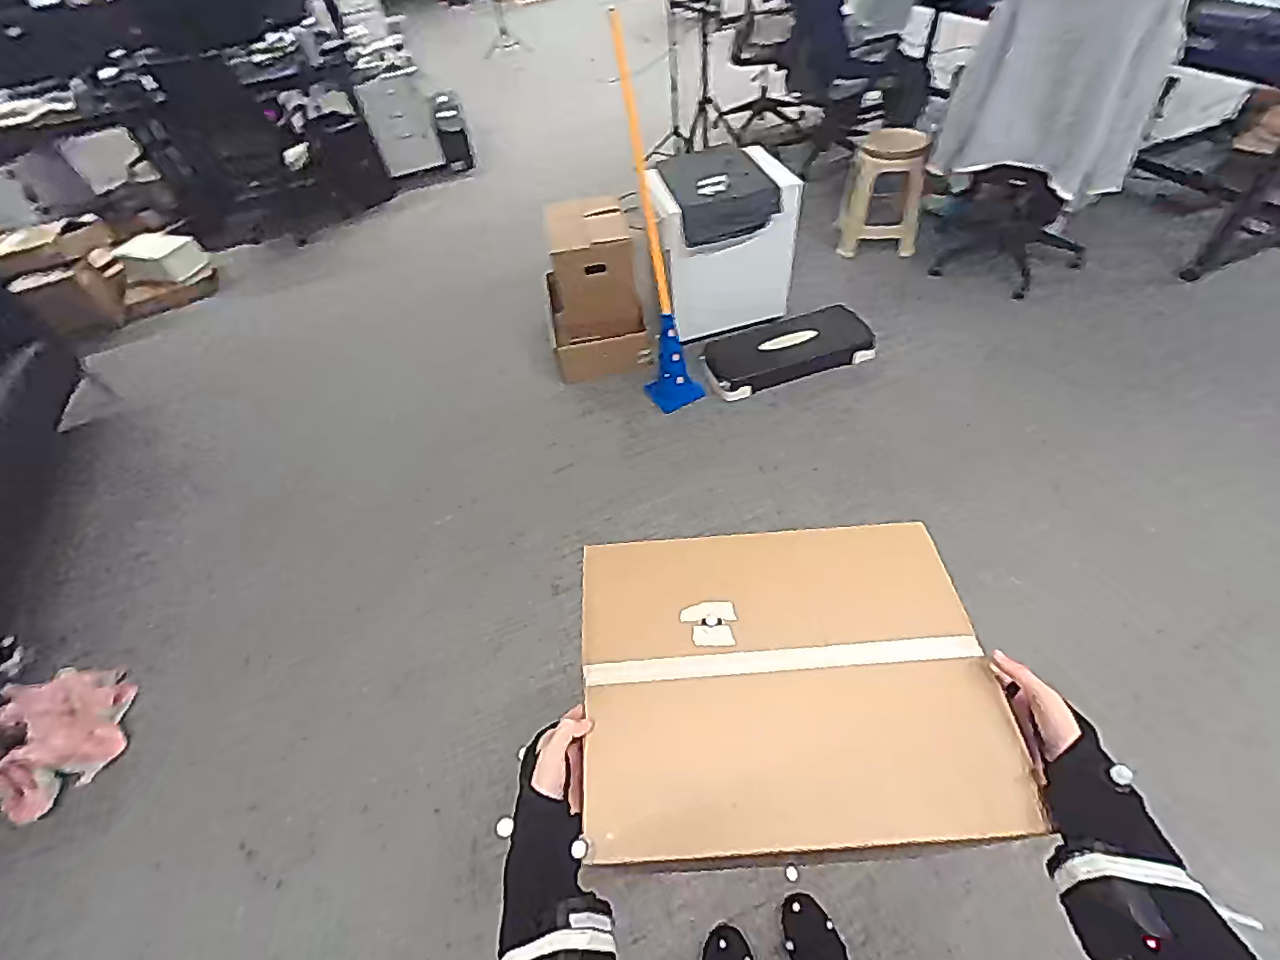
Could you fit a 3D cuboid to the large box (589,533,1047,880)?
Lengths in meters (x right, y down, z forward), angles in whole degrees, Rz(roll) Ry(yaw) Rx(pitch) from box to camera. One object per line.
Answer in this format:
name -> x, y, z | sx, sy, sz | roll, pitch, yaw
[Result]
large box -> 0.158, 0.292, 0.674 | 0.408, 0.320, 0.320 | -5, 51, 2
